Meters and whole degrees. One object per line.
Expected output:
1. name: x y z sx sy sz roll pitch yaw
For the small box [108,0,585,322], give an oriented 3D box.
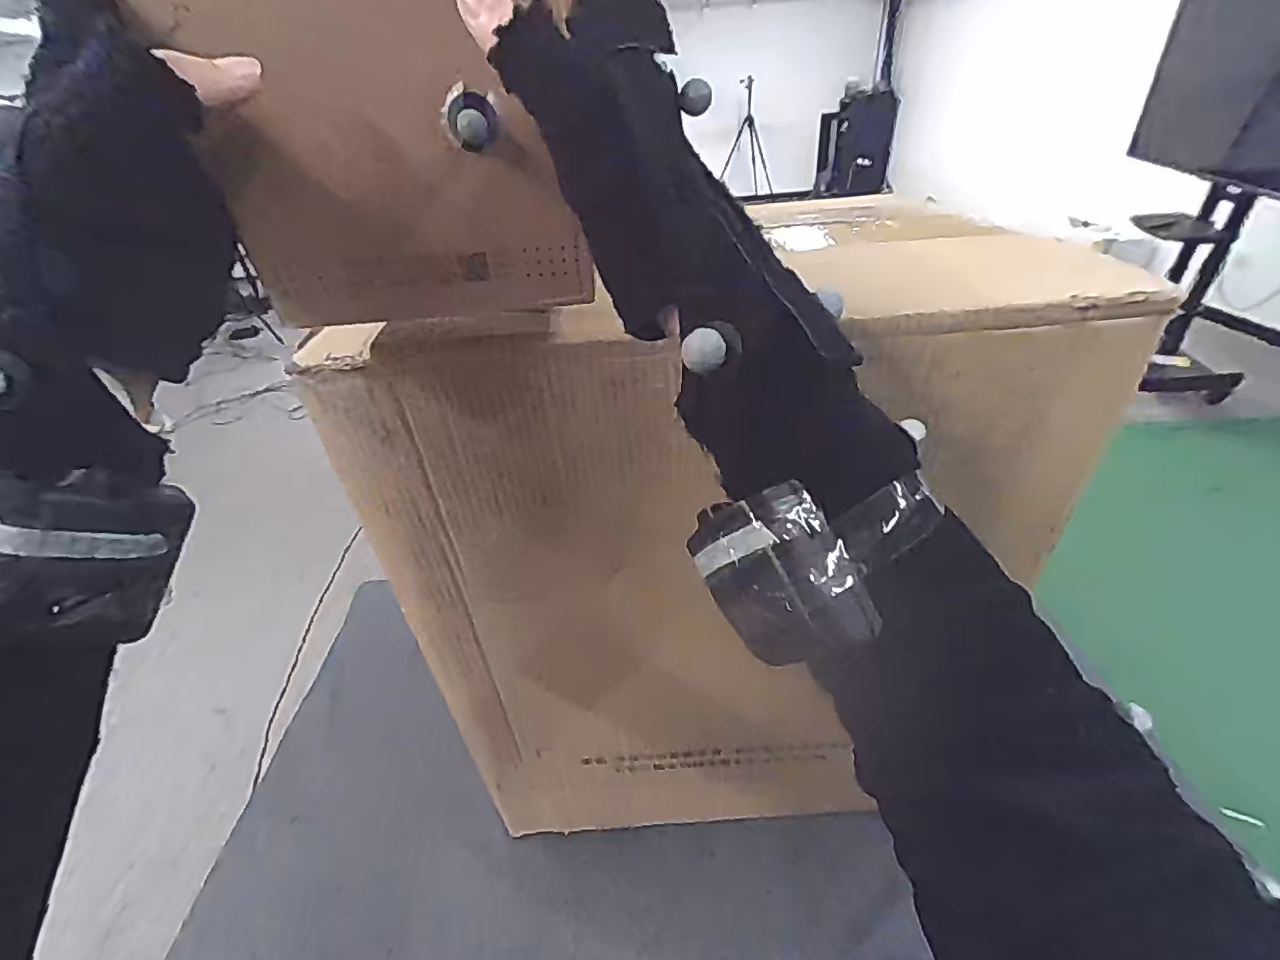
1. small box: -0.122 -0.199 0.302 0.168 0.176 0.179 -5 43 -5
